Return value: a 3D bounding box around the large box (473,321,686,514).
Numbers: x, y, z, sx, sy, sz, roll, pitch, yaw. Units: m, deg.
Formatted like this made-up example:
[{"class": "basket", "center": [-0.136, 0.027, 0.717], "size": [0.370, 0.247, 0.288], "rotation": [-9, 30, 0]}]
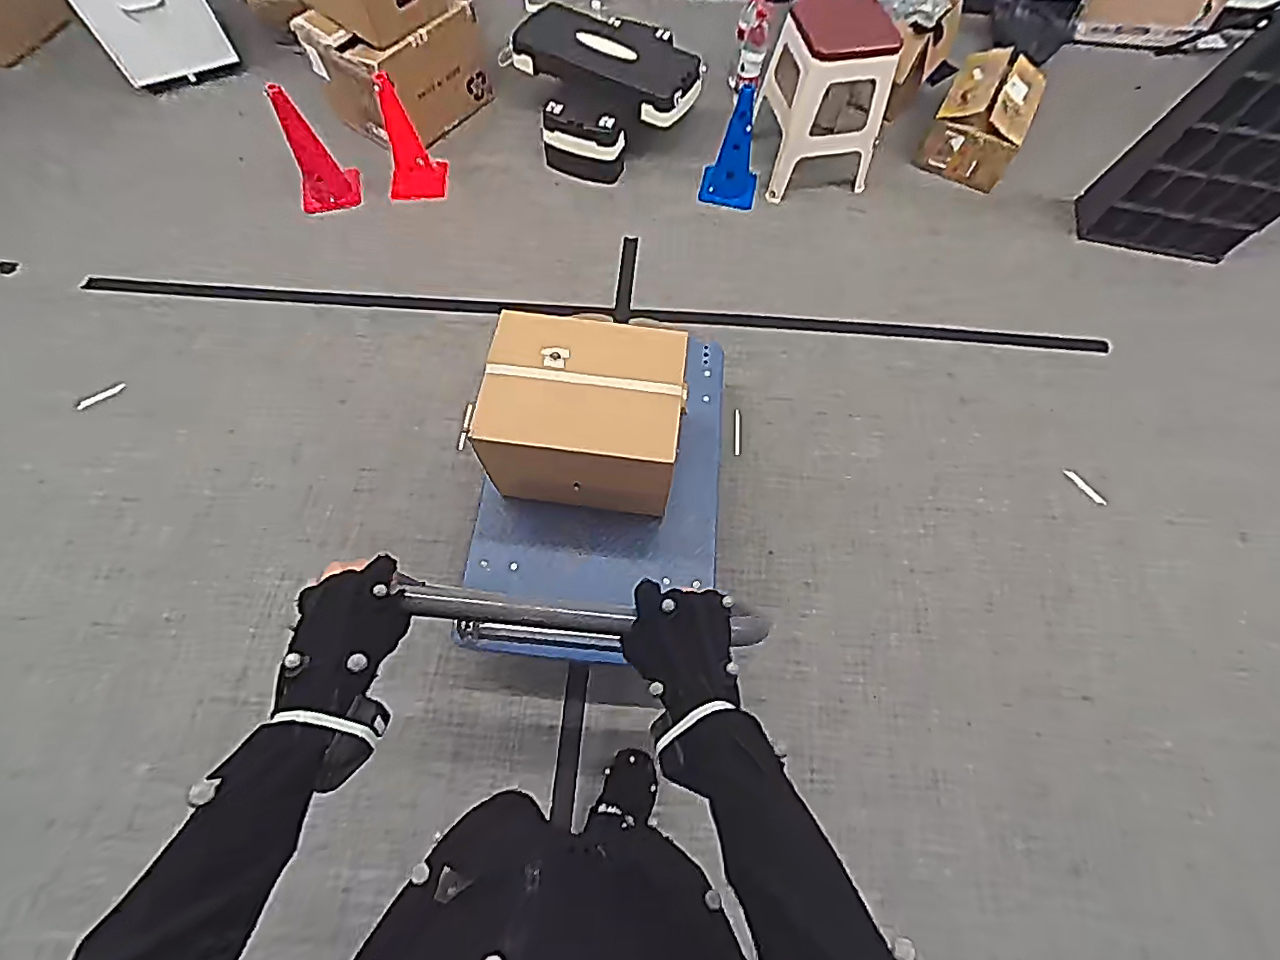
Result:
[{"class": "large box", "center": [-0.114, -0.127, 1.245], "size": [0.408, 0.320, 0.320], "rotation": [7, 67, 2]}]
